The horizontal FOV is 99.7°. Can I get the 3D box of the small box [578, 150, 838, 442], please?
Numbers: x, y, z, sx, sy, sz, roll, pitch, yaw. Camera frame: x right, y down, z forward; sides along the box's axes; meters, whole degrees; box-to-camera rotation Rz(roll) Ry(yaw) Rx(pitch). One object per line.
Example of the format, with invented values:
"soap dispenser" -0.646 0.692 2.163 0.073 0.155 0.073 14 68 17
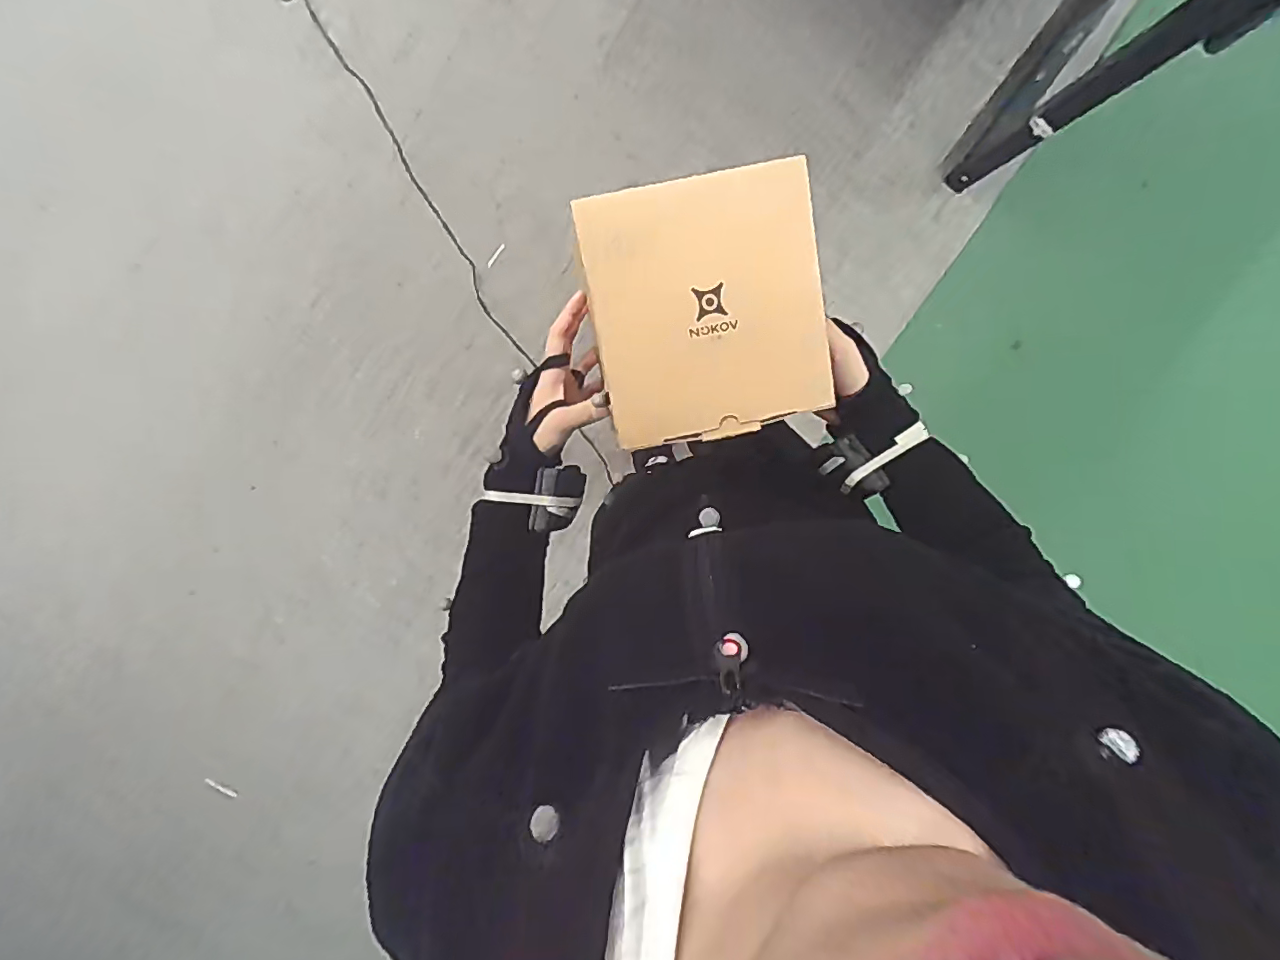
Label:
"small box" 0.043 -0.140 0.456 0.168 0.176 0.179 -12 103 -3
